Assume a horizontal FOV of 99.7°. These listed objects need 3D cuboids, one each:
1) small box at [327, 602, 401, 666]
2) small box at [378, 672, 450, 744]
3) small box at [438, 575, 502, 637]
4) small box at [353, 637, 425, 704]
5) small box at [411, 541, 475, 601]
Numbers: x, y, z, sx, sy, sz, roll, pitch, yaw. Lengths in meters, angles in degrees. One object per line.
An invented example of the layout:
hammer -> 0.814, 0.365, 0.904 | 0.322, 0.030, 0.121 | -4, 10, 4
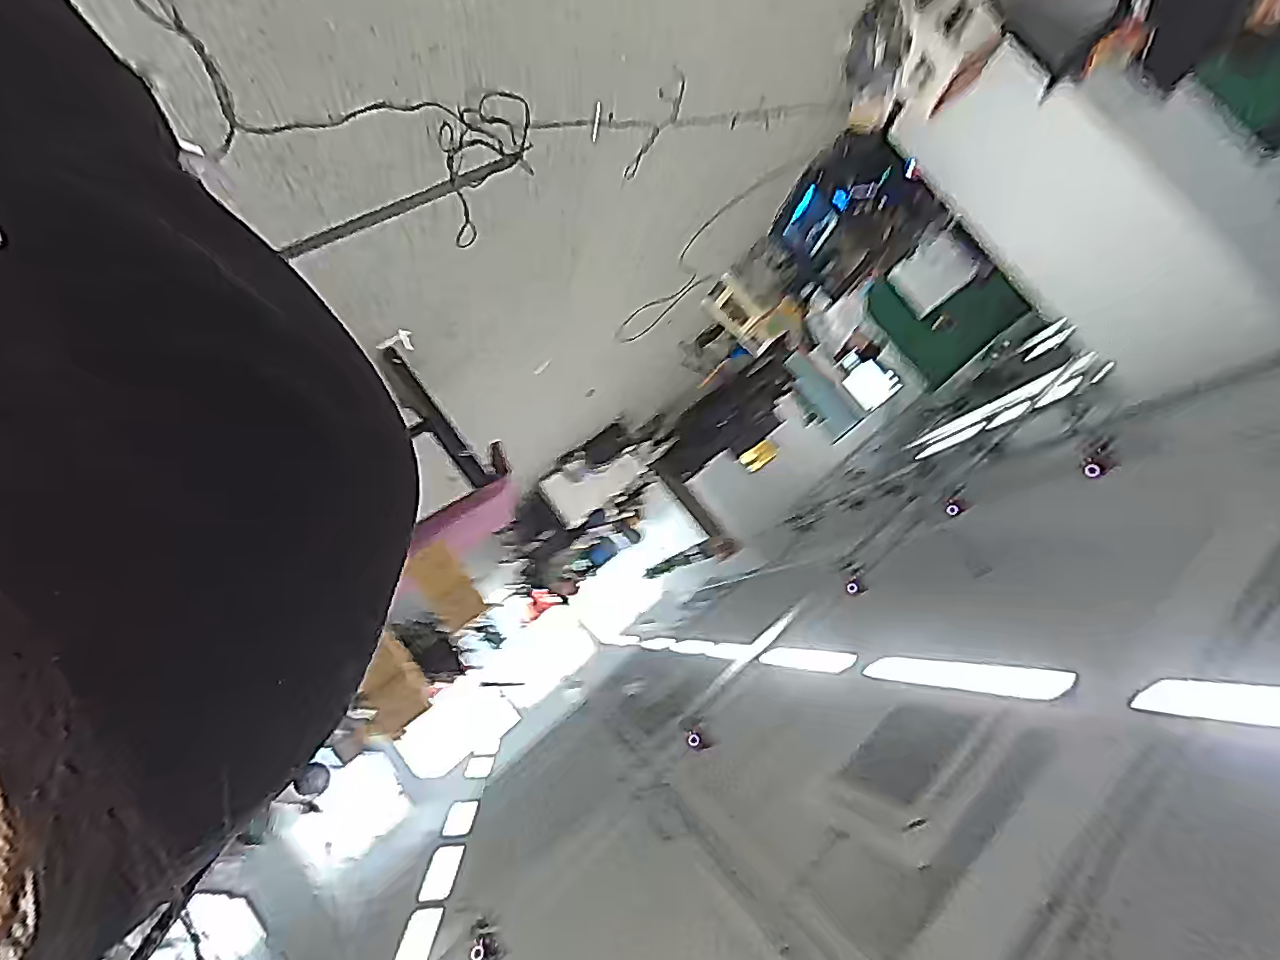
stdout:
small box -> -1.029, 0.573, 2.016 | 0.168, 0.176, 0.179 | -37, 174, -22
small box -> -0.821, 0.821, 1.966 | 0.168, 0.176, 0.179 | -37, 175, -18
small box -> -0.653, 0.482, 2.079 | 0.168, 0.176, 0.179 | -37, 175, -17
small box -> -0.927, 0.702, 2.003 | 0.168, 0.176, 0.179 | -38, 174, -22
small box -> -0.757, 0.355, 2.086 | 0.168, 0.176, 0.179 | -37, 175, -20
